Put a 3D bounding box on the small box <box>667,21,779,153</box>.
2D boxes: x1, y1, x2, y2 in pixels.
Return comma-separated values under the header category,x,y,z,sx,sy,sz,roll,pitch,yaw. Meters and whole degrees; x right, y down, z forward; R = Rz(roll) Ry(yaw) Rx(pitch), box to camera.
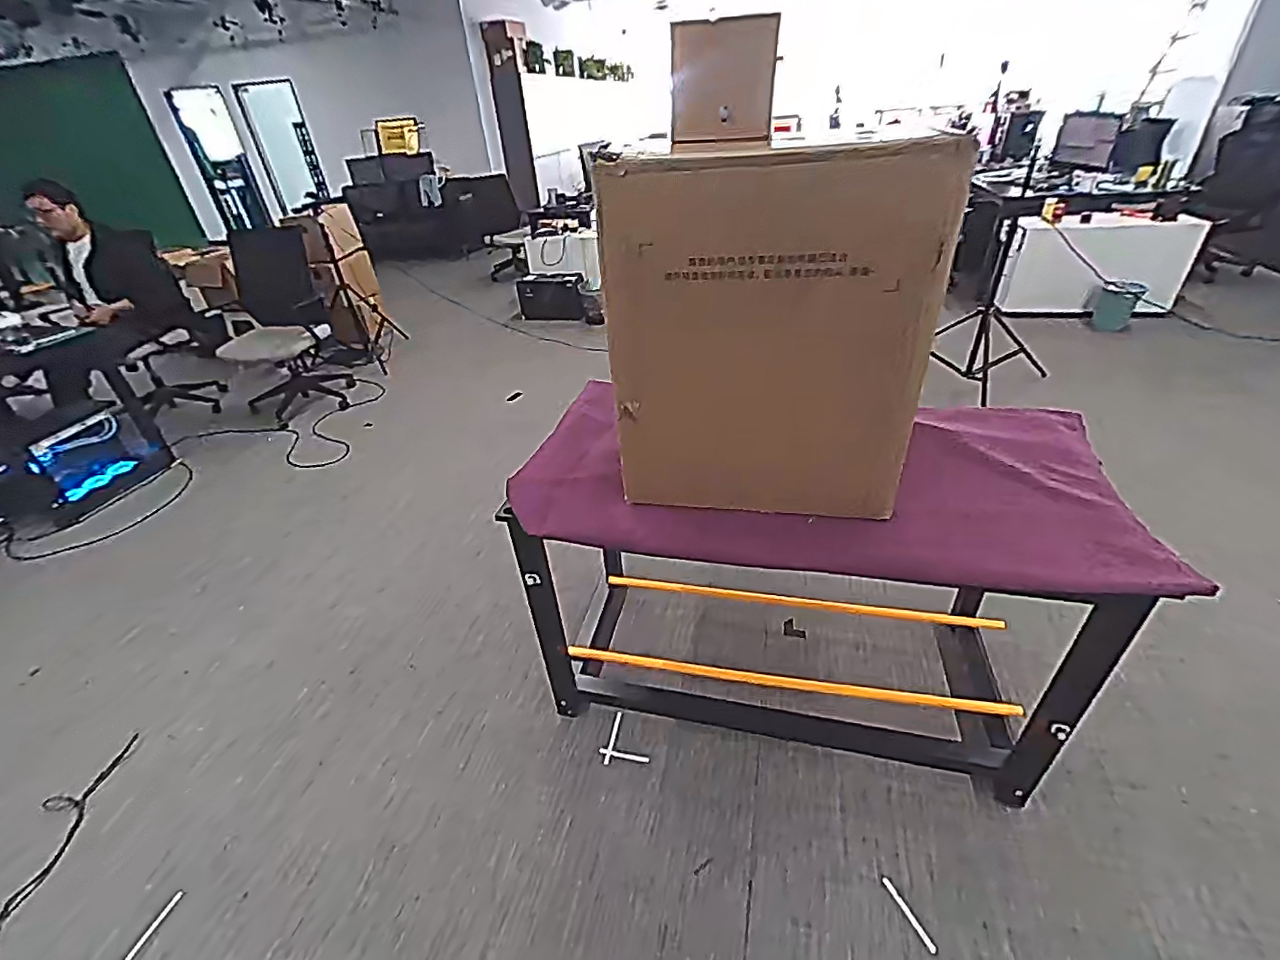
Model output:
category,x,y,z,sx,sy,sz,roll,pitch,yaw
small box,0.146,-0.682,0.951,0.179,0.176,0.168,5,35,13
